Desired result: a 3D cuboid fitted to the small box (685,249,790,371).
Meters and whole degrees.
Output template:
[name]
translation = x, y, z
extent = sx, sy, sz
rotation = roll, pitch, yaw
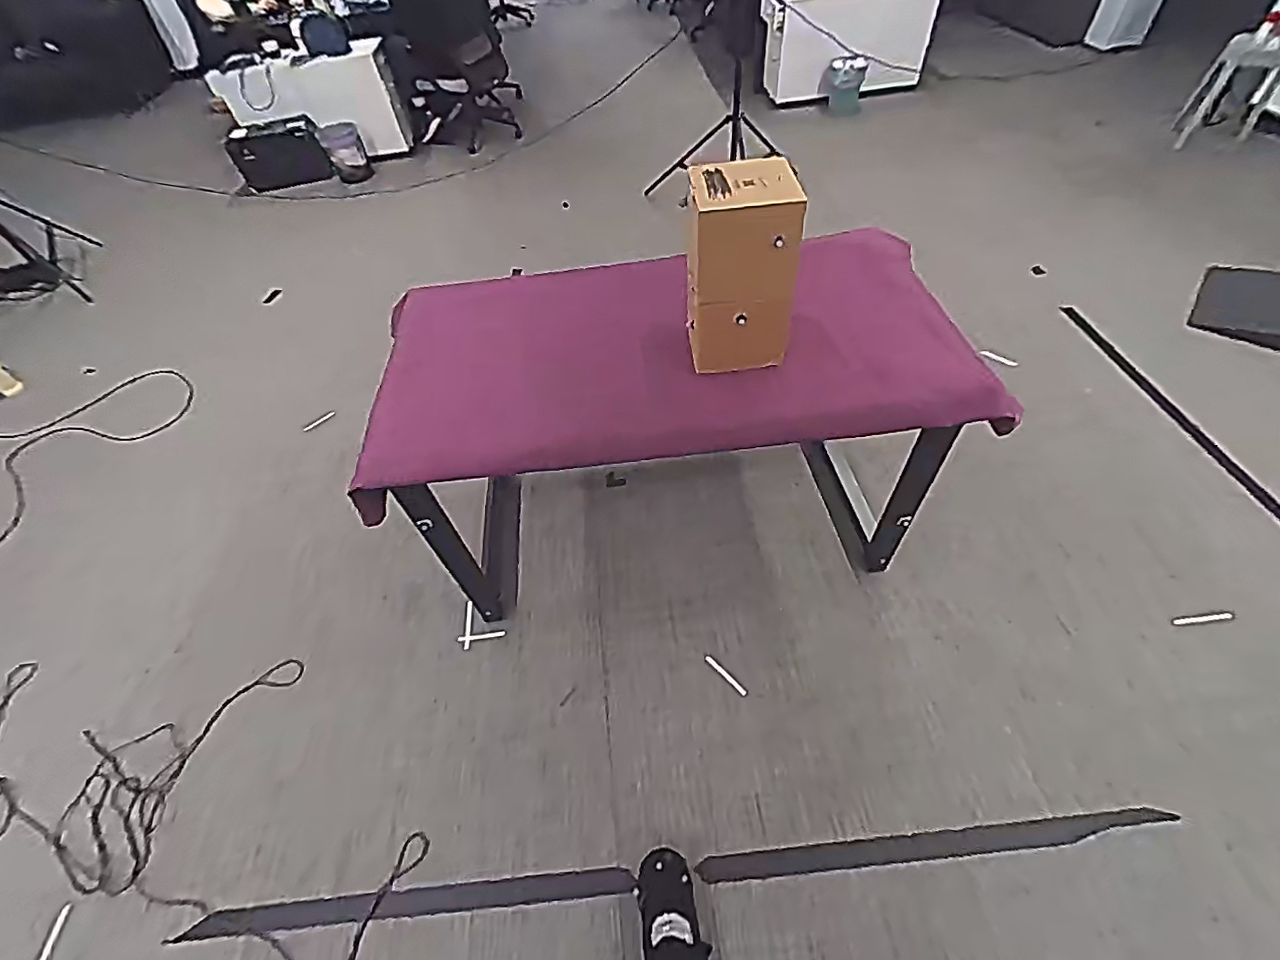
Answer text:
[small box]
translation = 0.188, -0.335, 1.085
extent = 0.179, 0.176, 0.168
rotation = -6, 52, 1
